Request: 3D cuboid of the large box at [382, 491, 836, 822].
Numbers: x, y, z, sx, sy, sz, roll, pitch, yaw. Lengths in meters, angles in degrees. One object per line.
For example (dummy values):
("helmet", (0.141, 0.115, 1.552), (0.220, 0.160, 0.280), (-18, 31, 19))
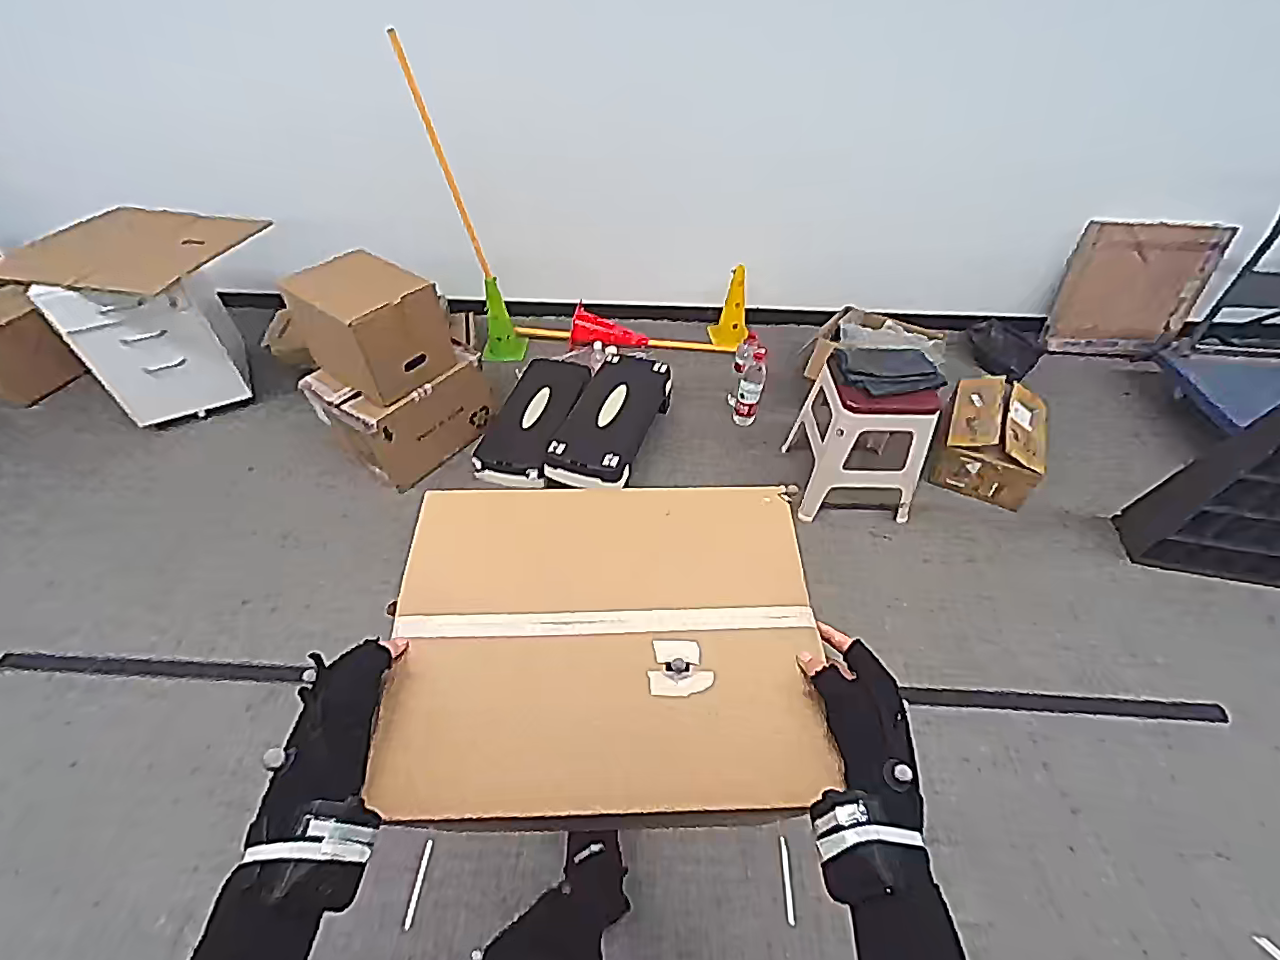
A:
("large box", (-0.034, 0.227, 0.671), (0.408, 0.320, 0.320), (0, 56, -2))
